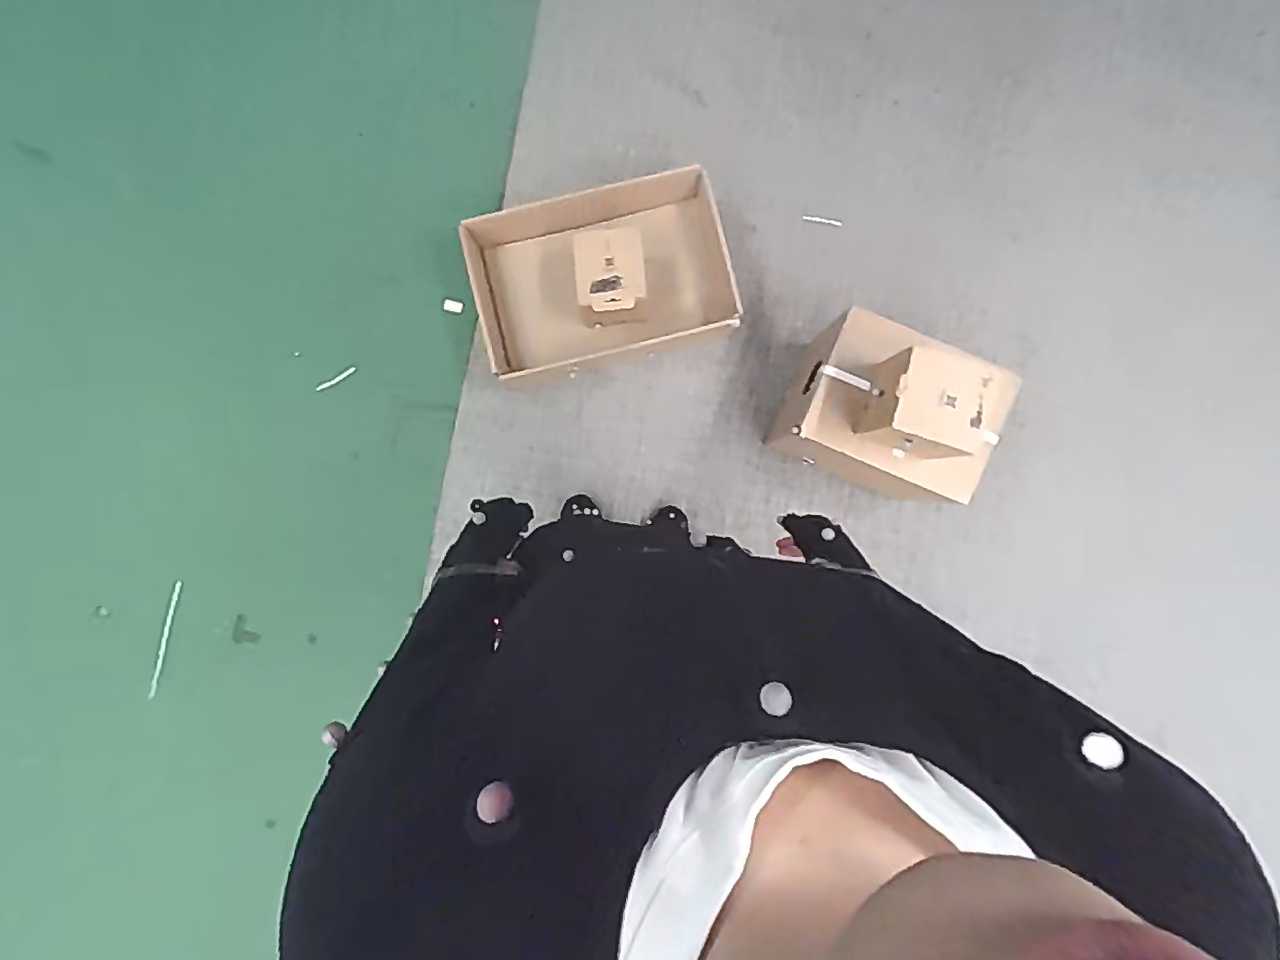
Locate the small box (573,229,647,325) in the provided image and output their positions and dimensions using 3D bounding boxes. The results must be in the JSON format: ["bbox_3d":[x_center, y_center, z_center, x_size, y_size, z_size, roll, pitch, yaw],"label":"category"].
[{"bbox_3d":[-0.070,-0.500,1.358,0.168,0.176,0.179,-5,87,0],"label":"small box"}]

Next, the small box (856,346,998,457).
[{"bbox_3d":[0.564,-0.148,1.090,0.179,0.176,0.168,18,89,1],"label":"small box"}]
